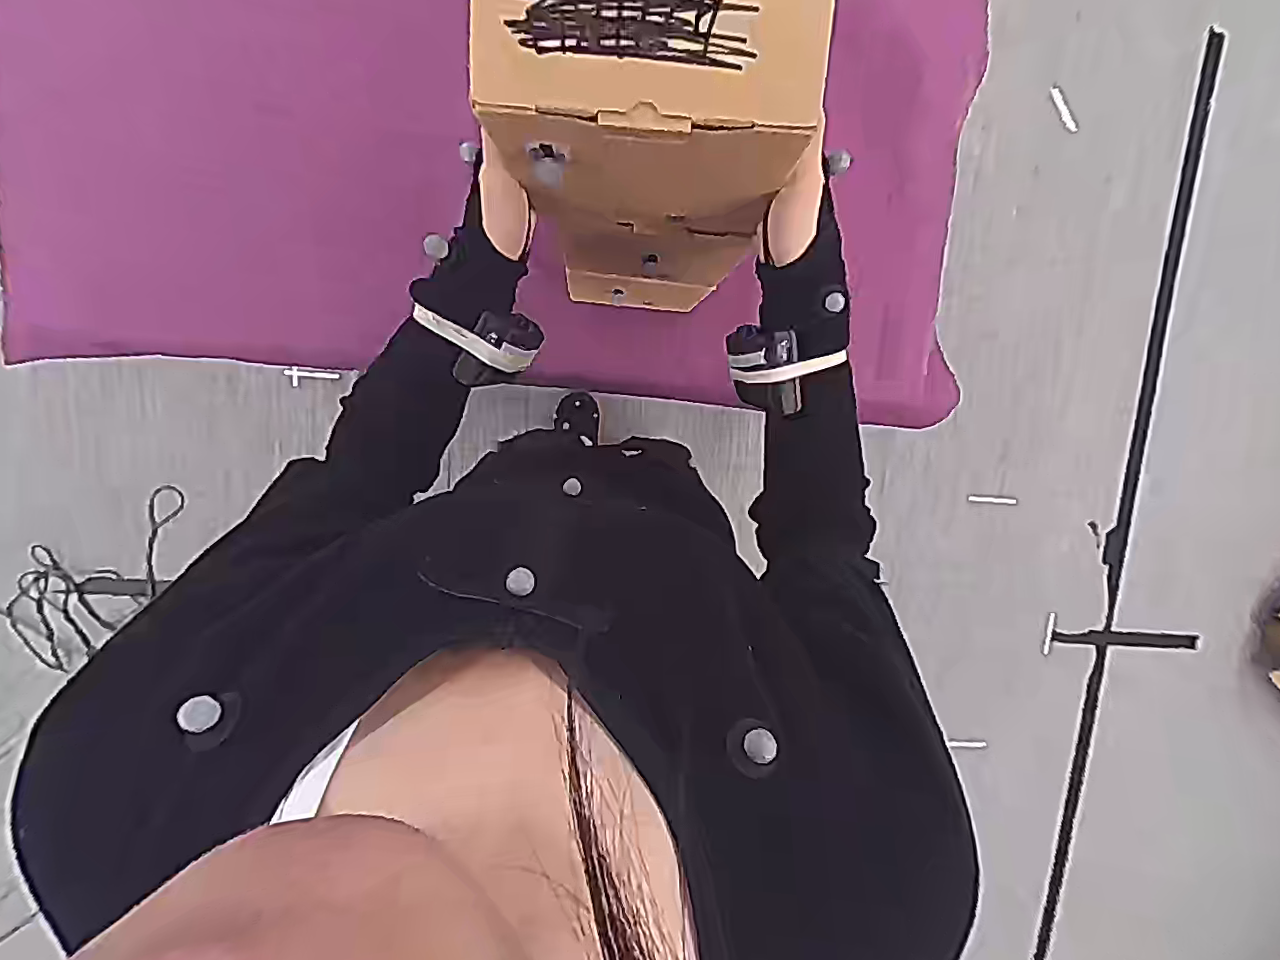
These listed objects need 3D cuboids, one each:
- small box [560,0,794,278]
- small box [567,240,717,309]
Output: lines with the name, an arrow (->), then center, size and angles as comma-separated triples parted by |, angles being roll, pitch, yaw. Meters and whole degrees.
small box -> 0.021, -0.294, 0.491 | 0.168, 0.176, 0.179 | 5, 98, -6
small box -> 0.005, -0.313, 0.653 | 0.168, 0.176, 0.179 | 4, 97, -6
